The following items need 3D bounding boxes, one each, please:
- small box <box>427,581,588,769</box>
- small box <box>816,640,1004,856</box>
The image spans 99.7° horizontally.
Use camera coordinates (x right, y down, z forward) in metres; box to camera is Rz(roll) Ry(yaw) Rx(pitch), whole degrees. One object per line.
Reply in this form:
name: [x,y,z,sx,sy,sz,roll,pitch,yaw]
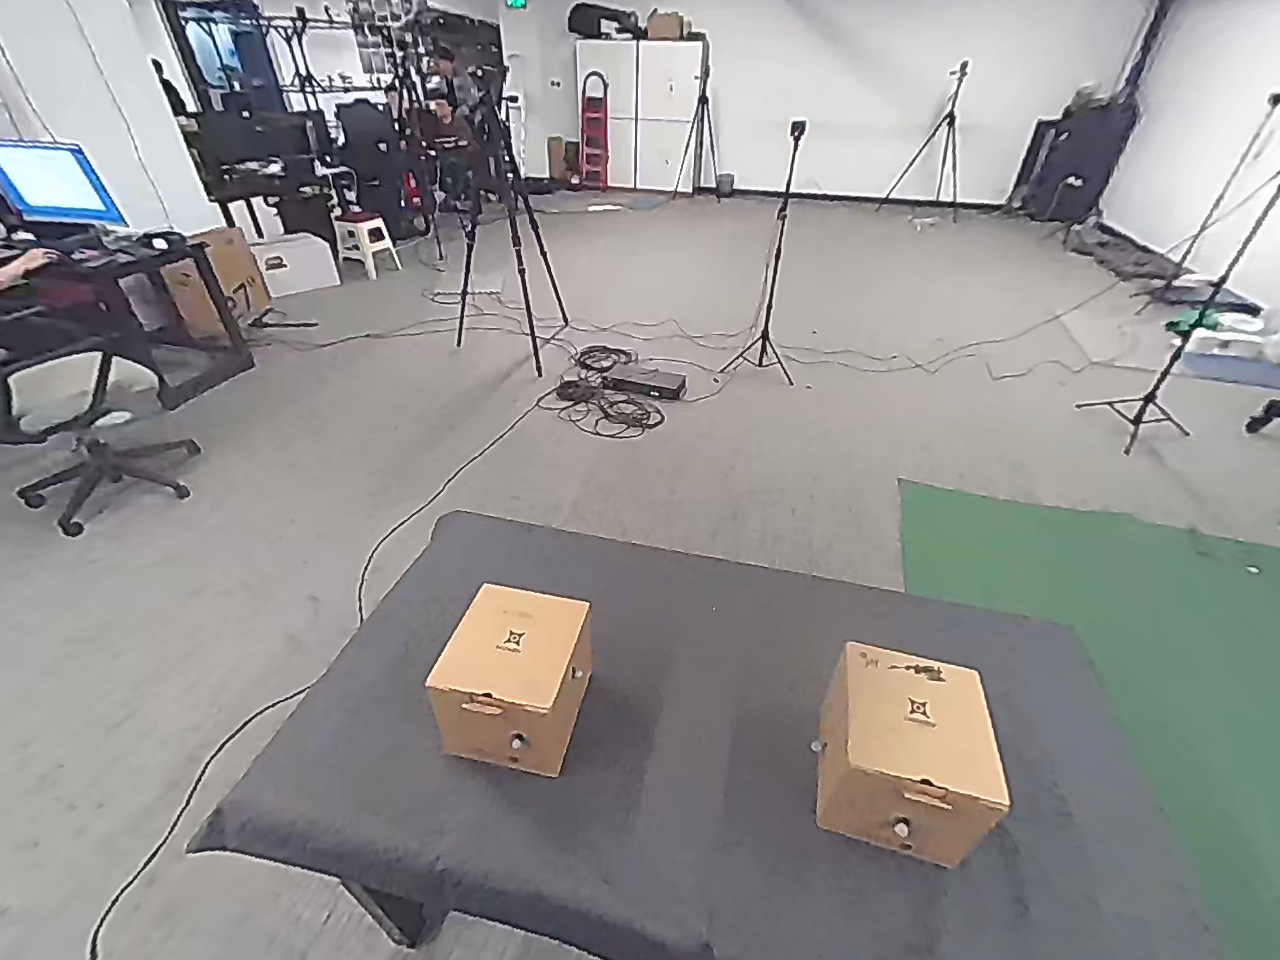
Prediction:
small box: [-0.172,0.276,0.770,0.168,0.176,0.179,9,36,7]
small box: [0.330,0.344,0.698,0.168,0.176,0.179,11,39,12]
